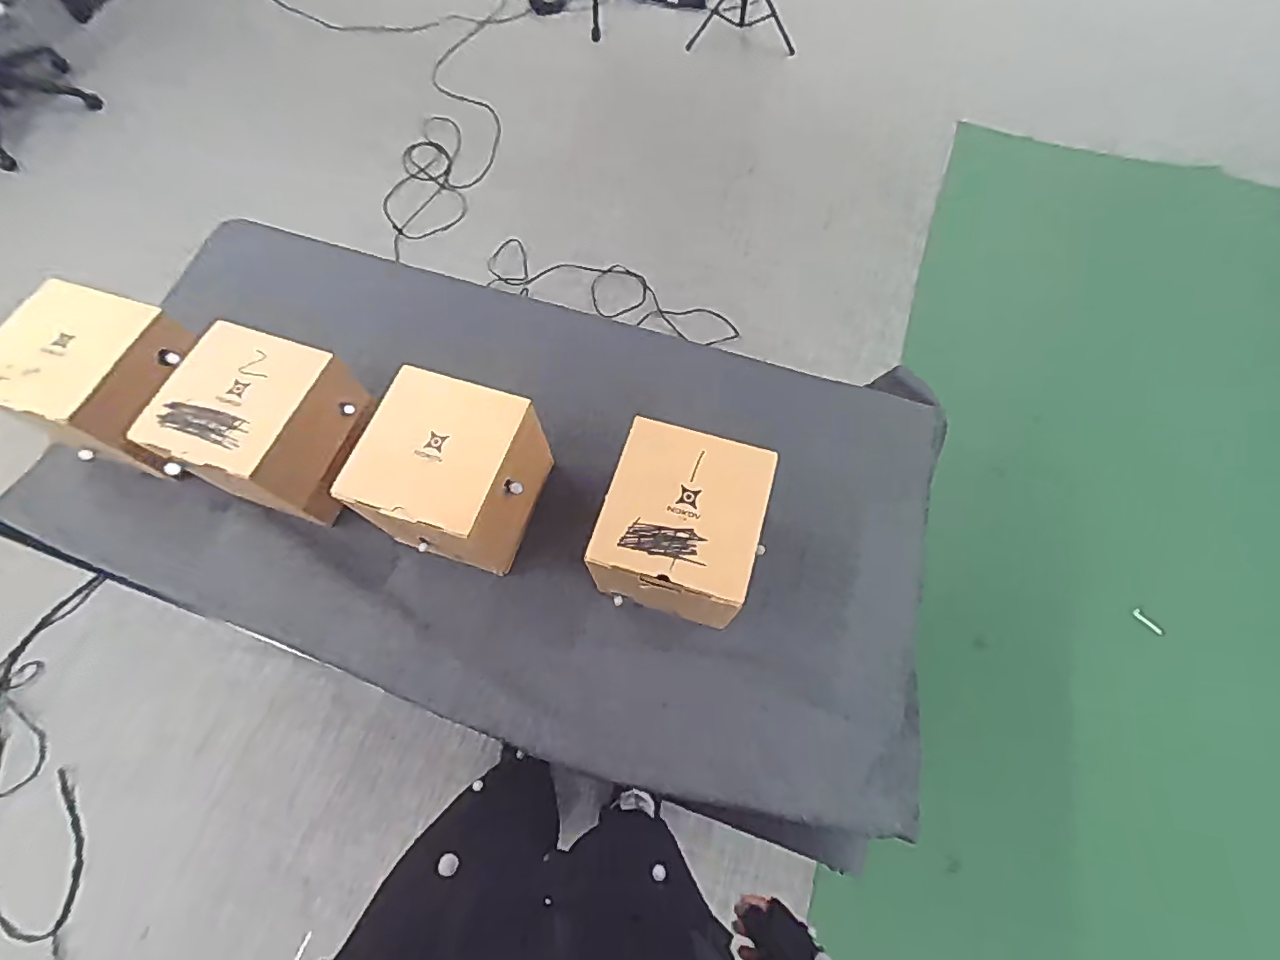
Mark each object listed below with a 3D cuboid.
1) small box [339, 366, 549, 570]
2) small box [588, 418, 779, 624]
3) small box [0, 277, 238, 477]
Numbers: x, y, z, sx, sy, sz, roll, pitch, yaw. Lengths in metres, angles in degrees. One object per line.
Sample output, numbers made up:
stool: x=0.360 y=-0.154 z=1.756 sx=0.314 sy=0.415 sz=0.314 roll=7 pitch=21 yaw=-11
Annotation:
small box: x=-0.222 y=-0.007 z=0.673 sx=0.168 sy=0.176 sz=0.179 roll=16 pitch=69 yaw=7
small box: x=0.051 y=0.058 z=0.640 sx=0.168 sy=0.176 sz=0.179 roll=16 pitch=68 yaw=7
small box: x=-0.691 y=-0.130 z=0.721 sx=0.168 sy=0.176 sz=0.179 roll=16 pitch=67 yaw=6
